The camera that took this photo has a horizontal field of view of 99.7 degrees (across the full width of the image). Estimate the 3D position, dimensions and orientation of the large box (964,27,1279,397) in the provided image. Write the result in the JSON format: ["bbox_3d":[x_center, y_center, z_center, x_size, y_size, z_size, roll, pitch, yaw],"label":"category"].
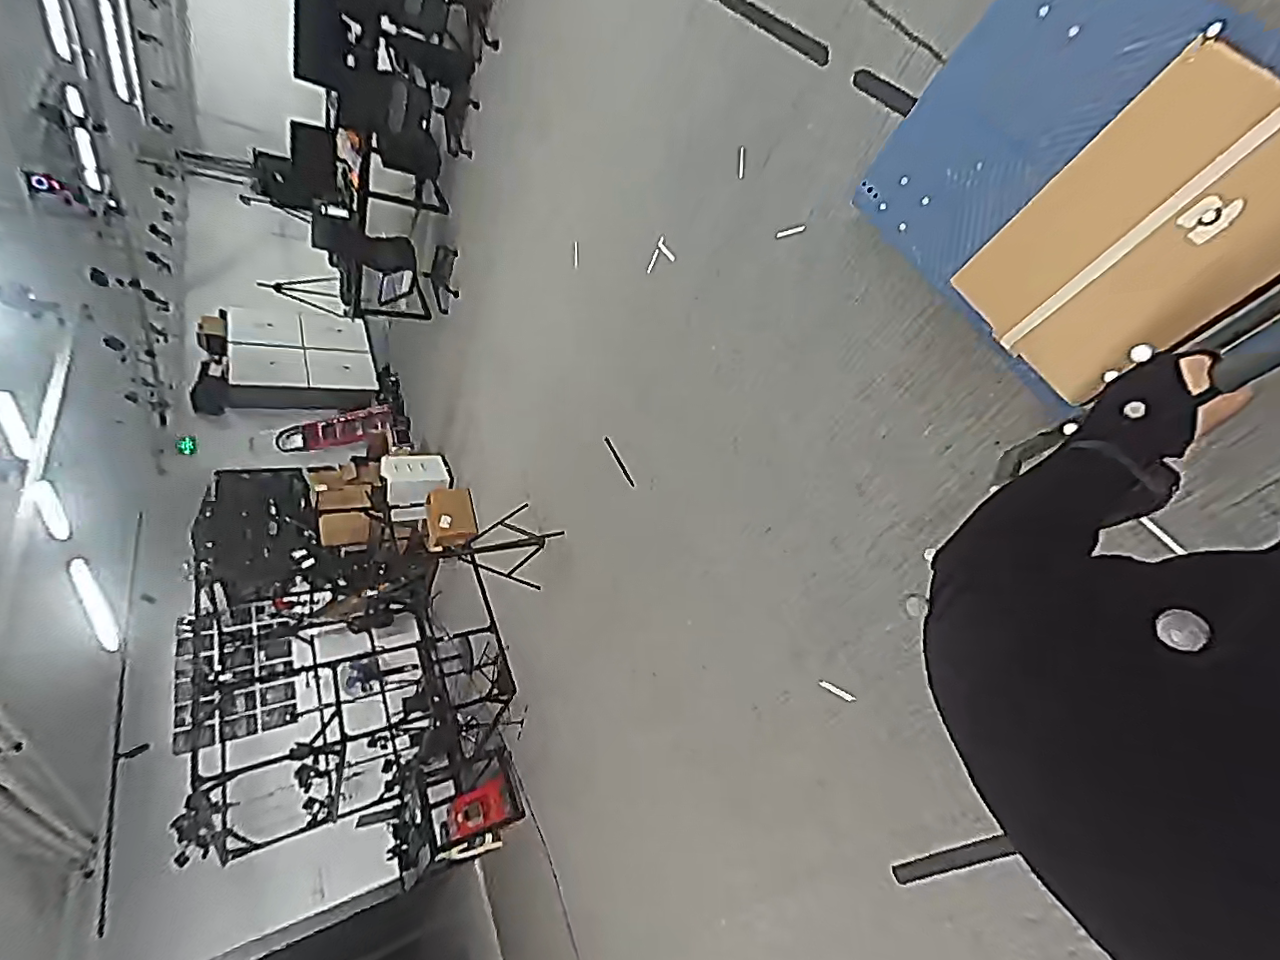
[{"bbox_3d":[0.854,-0.382,0.879,0.320,0.320,0.408,61,139,23],"label":"large box"}]
